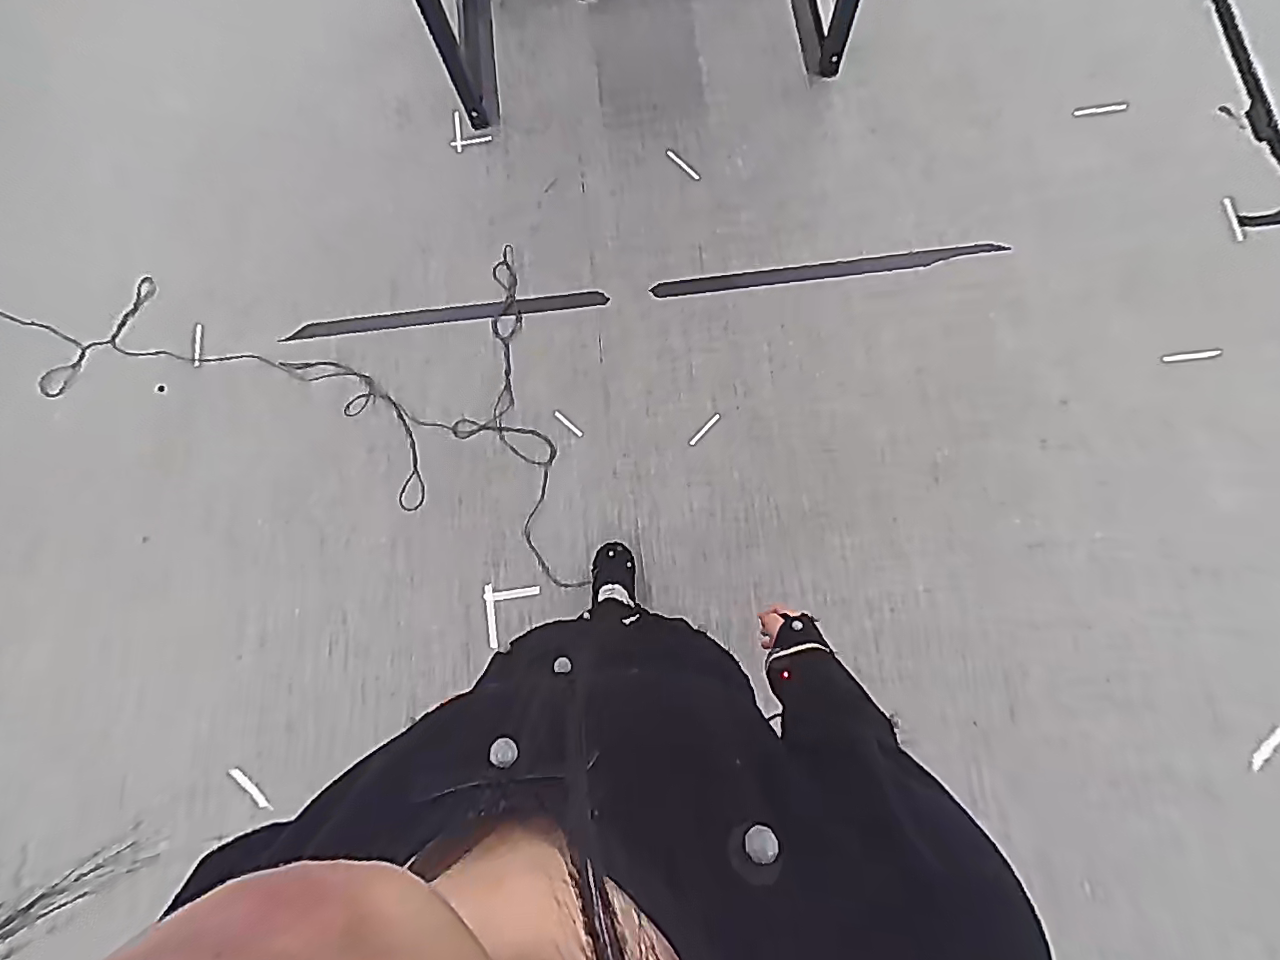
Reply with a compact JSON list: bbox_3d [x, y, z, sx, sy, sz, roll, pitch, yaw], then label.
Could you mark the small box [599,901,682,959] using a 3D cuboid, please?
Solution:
[{"bbox_3d":[0.007,1.130,1.268,0.179,0.176,0.168,-7,80,1],"label":"small box"}]
